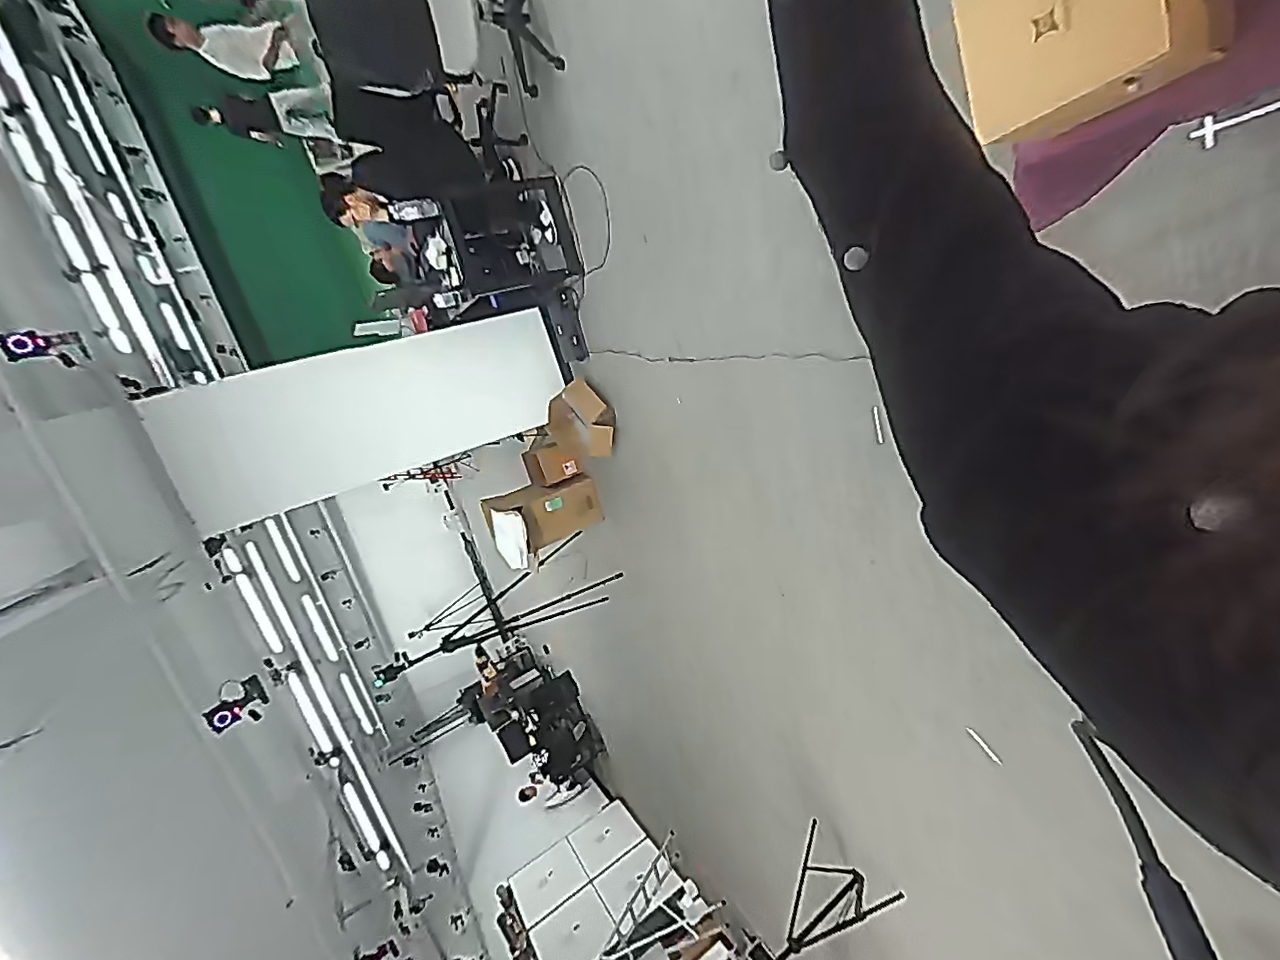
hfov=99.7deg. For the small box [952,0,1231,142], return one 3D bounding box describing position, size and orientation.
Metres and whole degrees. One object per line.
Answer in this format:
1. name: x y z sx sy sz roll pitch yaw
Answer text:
1. small box: 0.482 -0.498 0.585 0.179 0.176 0.168 1 111 61
